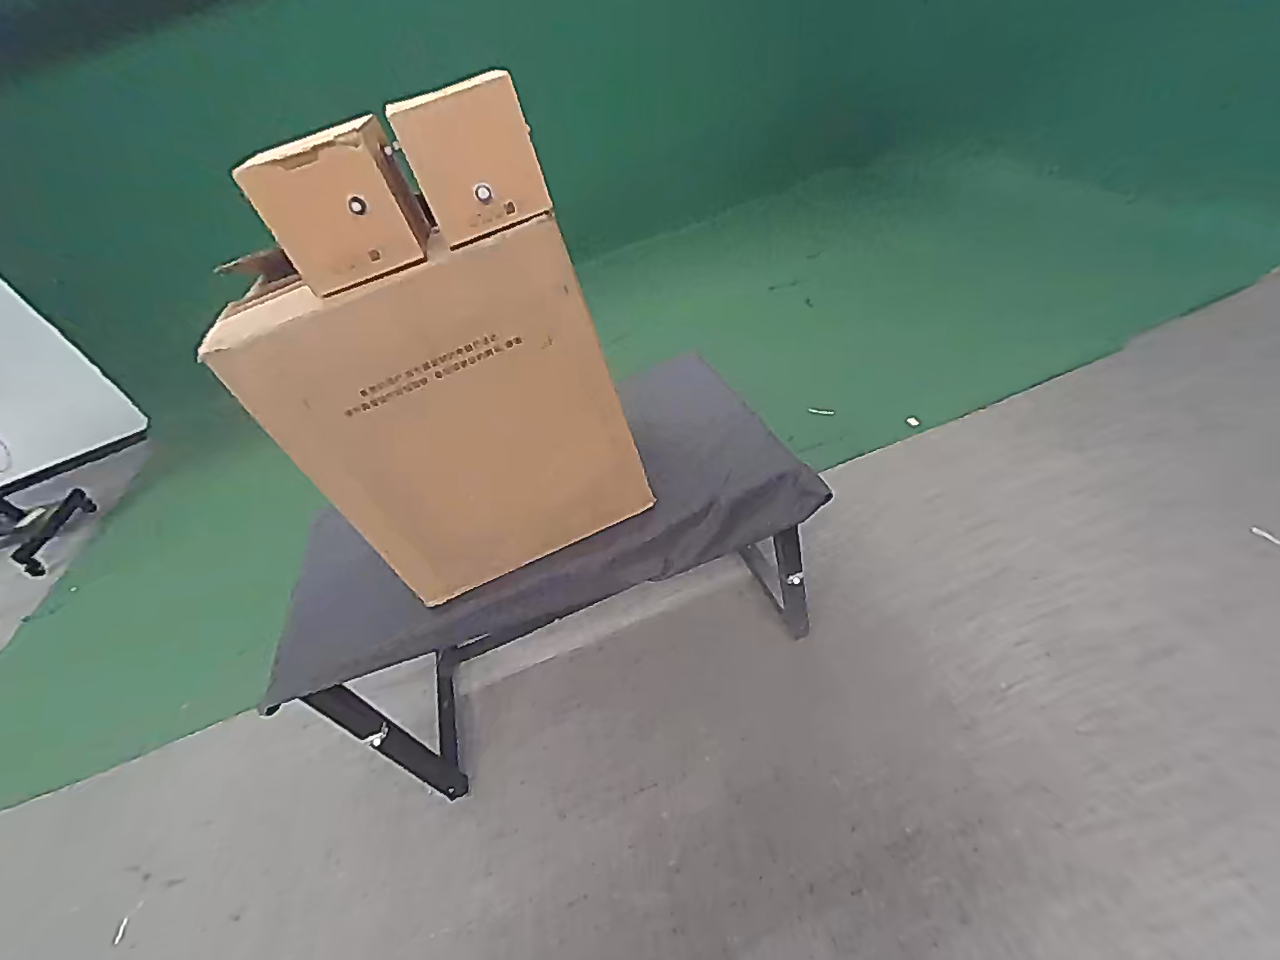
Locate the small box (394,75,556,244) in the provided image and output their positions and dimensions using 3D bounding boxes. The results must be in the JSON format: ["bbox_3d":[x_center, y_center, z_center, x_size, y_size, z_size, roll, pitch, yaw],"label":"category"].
[{"bbox_3d":[-0.240,-0.470,0.796,0.168,0.176,0.179,-23,42,-6],"label":"small box"}]
